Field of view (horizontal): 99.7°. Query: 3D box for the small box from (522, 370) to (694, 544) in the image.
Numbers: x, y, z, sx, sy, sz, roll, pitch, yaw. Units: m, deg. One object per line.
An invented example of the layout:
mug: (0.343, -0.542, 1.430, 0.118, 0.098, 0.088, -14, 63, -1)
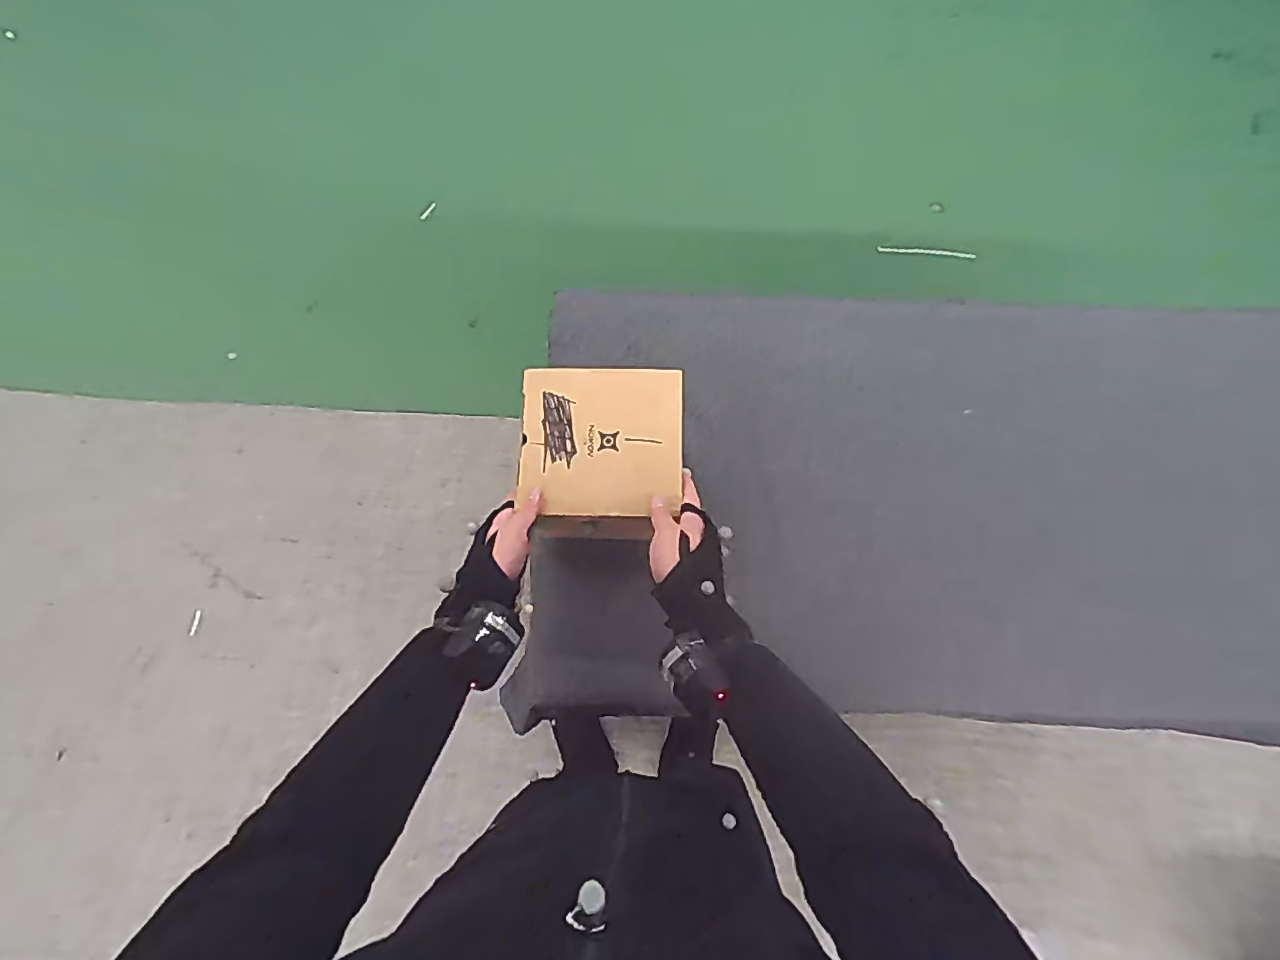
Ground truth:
small box: (-0.031, -0.017, 0.641, 0.179, 0.176, 0.168, 2, 76, 0)
